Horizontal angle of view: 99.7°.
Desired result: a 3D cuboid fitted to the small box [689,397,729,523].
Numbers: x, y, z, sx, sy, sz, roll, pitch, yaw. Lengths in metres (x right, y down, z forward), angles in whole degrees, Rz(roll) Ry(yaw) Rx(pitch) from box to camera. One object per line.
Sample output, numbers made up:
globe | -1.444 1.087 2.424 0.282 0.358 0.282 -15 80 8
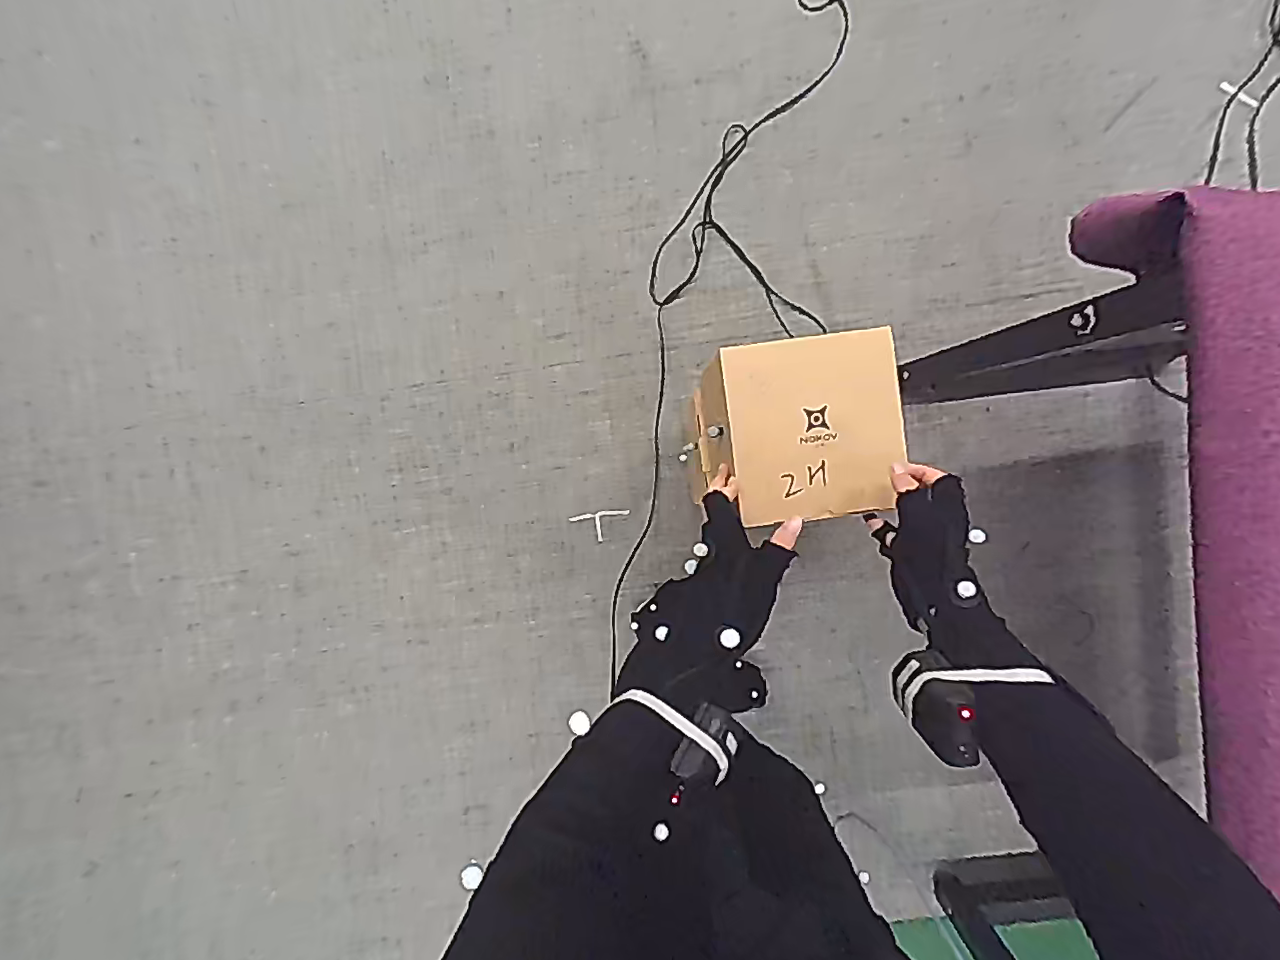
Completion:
small box | 0.167 -0.037 0.768 0.179 0.176 0.168 -6 92 4

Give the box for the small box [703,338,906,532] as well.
small box | 0.166 -0.043 0.598 0.168 0.176 0.179 -6 91 1
